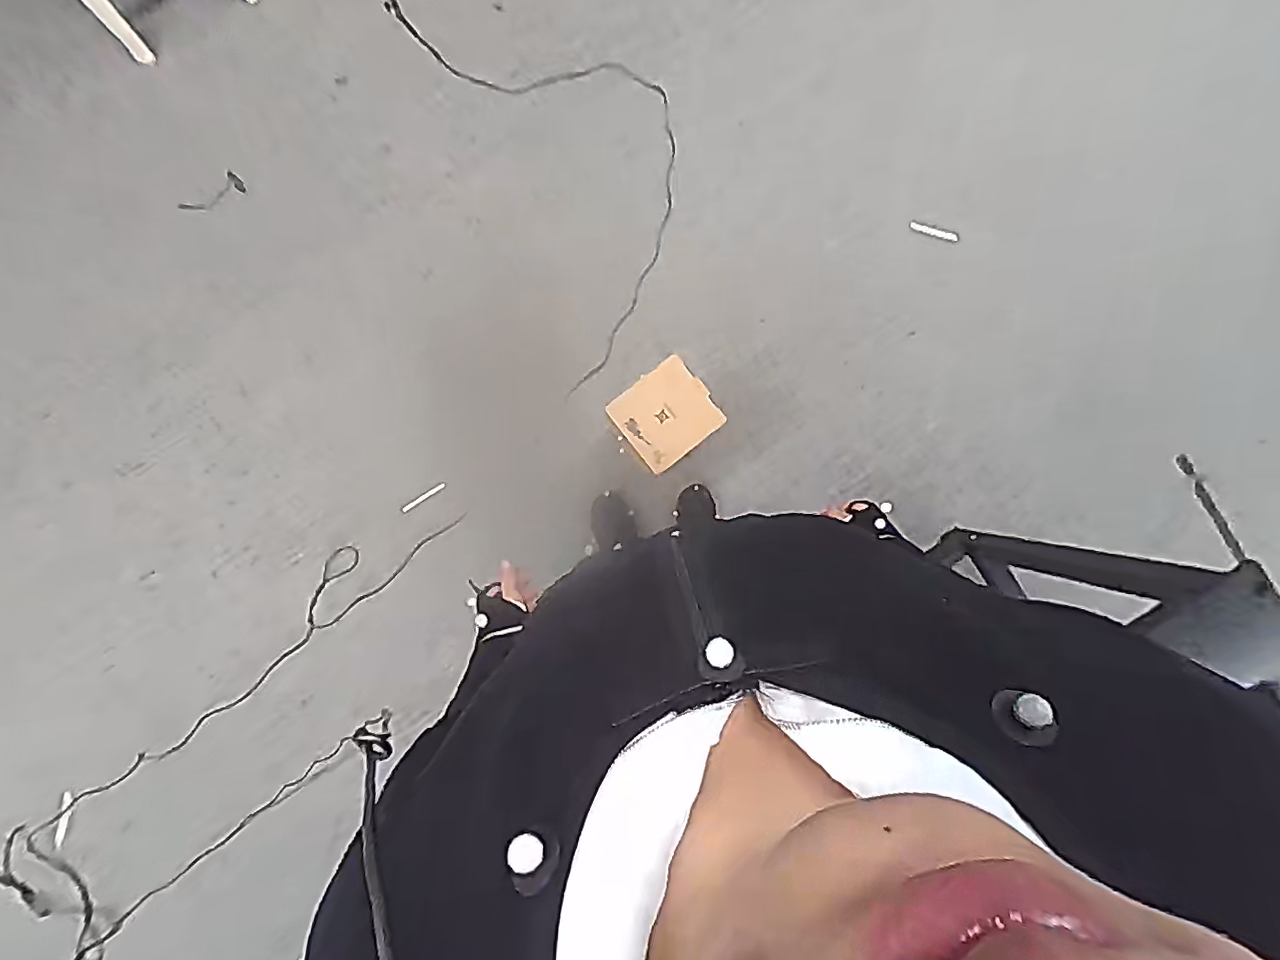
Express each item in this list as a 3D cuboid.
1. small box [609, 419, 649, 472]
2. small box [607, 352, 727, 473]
[{"bbox_3d":[0.034,-0.136,1.431,0.179,0.176,0.168,-37,91,0],"label":"small box"},{"bbox_3d":[0.047,-0.130,1.105,0.179,0.176,0.168,-38,91,-2],"label":"small box"}]
